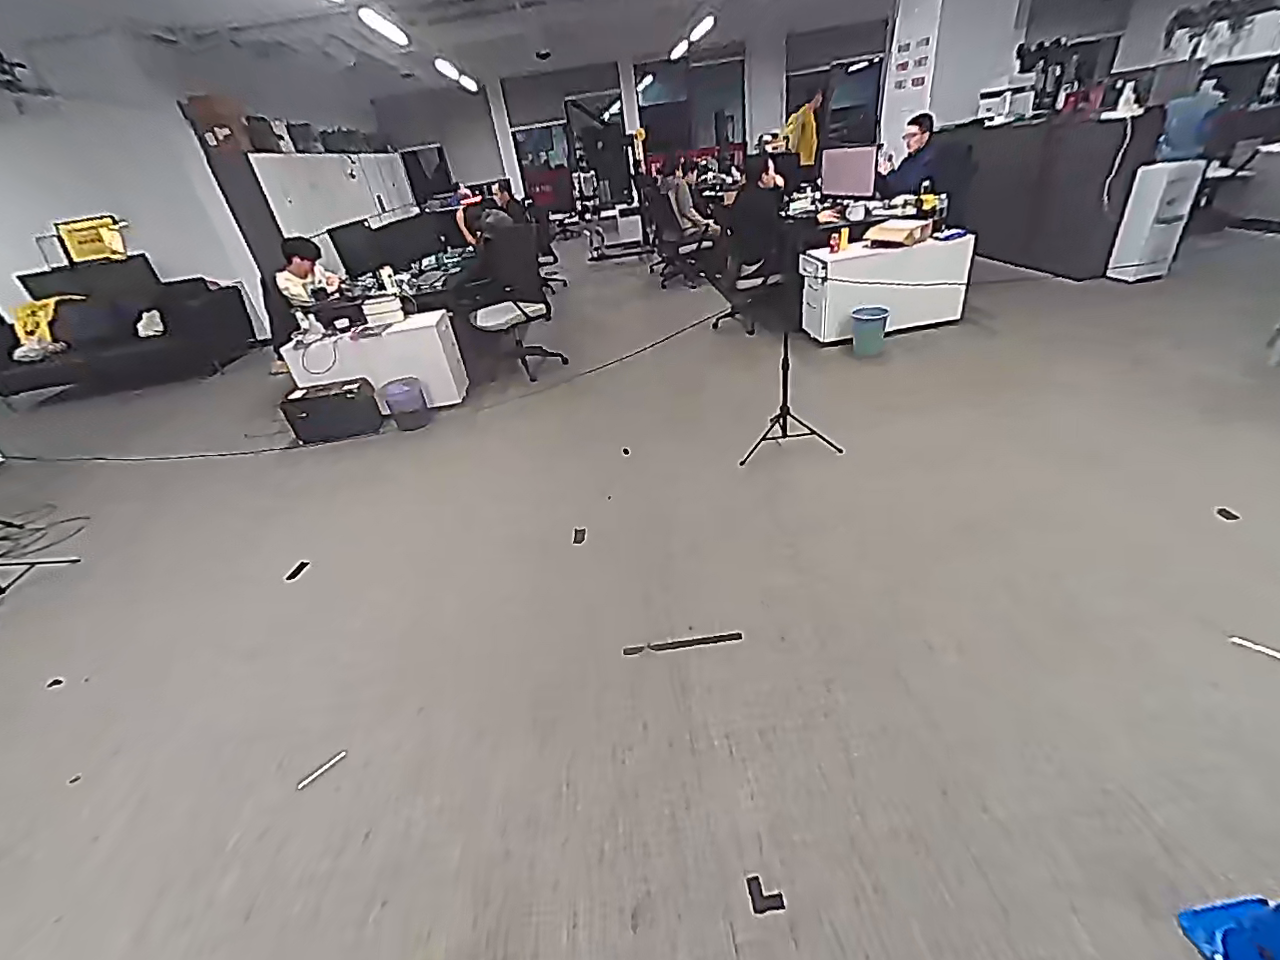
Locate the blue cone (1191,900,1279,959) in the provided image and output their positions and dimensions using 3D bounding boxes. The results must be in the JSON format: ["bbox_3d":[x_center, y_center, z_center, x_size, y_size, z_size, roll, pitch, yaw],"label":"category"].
[{"bbox_3d":[1.129,0.737,0.885,0.193,0.380,0.192,-9,31,0],"label":"blue cone"}]
